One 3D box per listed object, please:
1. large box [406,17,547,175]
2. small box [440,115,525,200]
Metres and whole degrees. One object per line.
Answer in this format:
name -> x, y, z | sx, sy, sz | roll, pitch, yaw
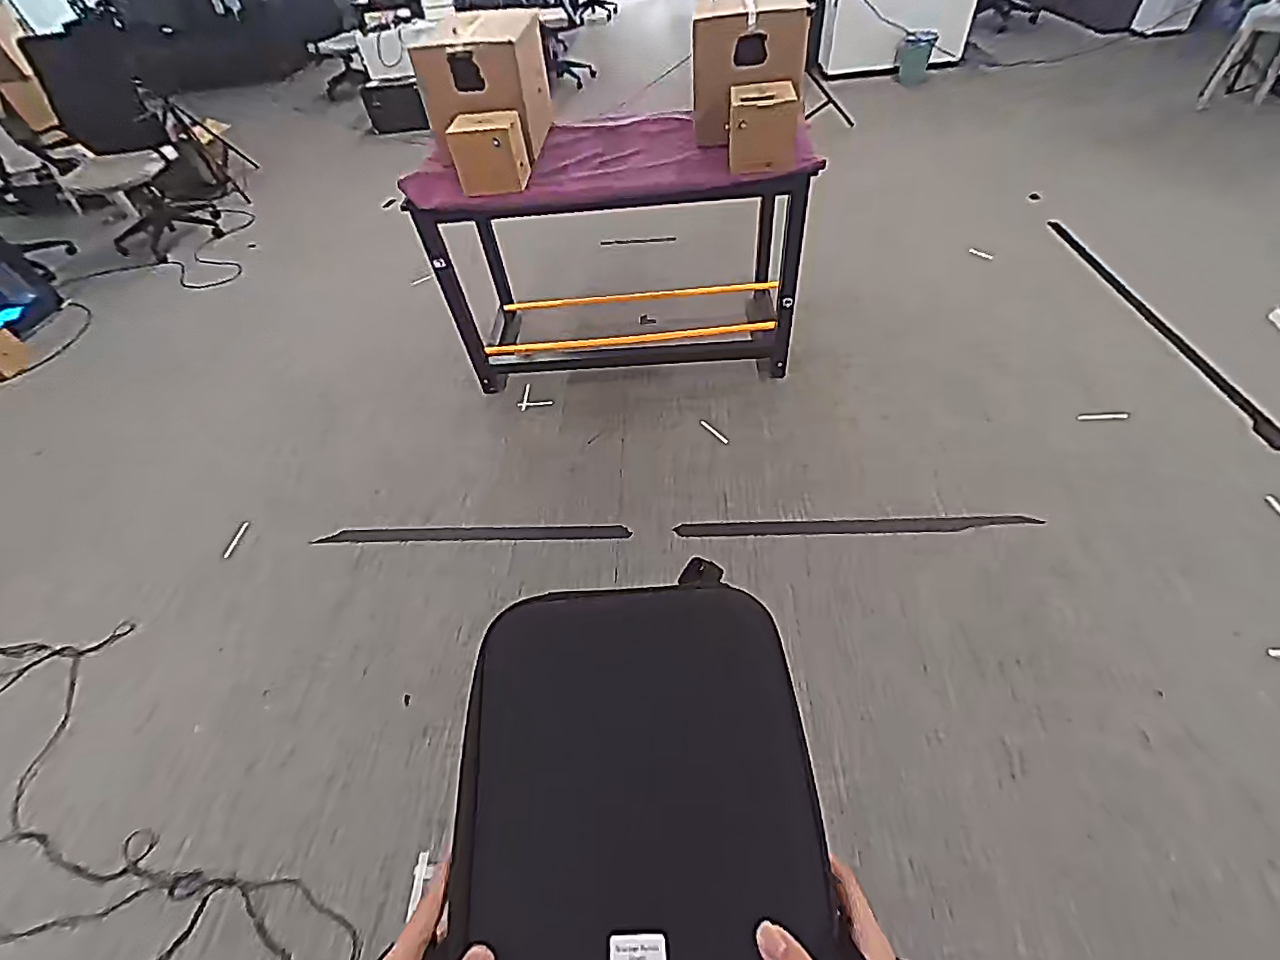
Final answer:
large box -> -0.497, -1.240, 1.745 | 0.320, 0.320, 0.408 | -2, 52, 4
small box -> -0.449, -0.933, 1.571 | 0.179, 0.176, 0.168 | -3, 48, 3
